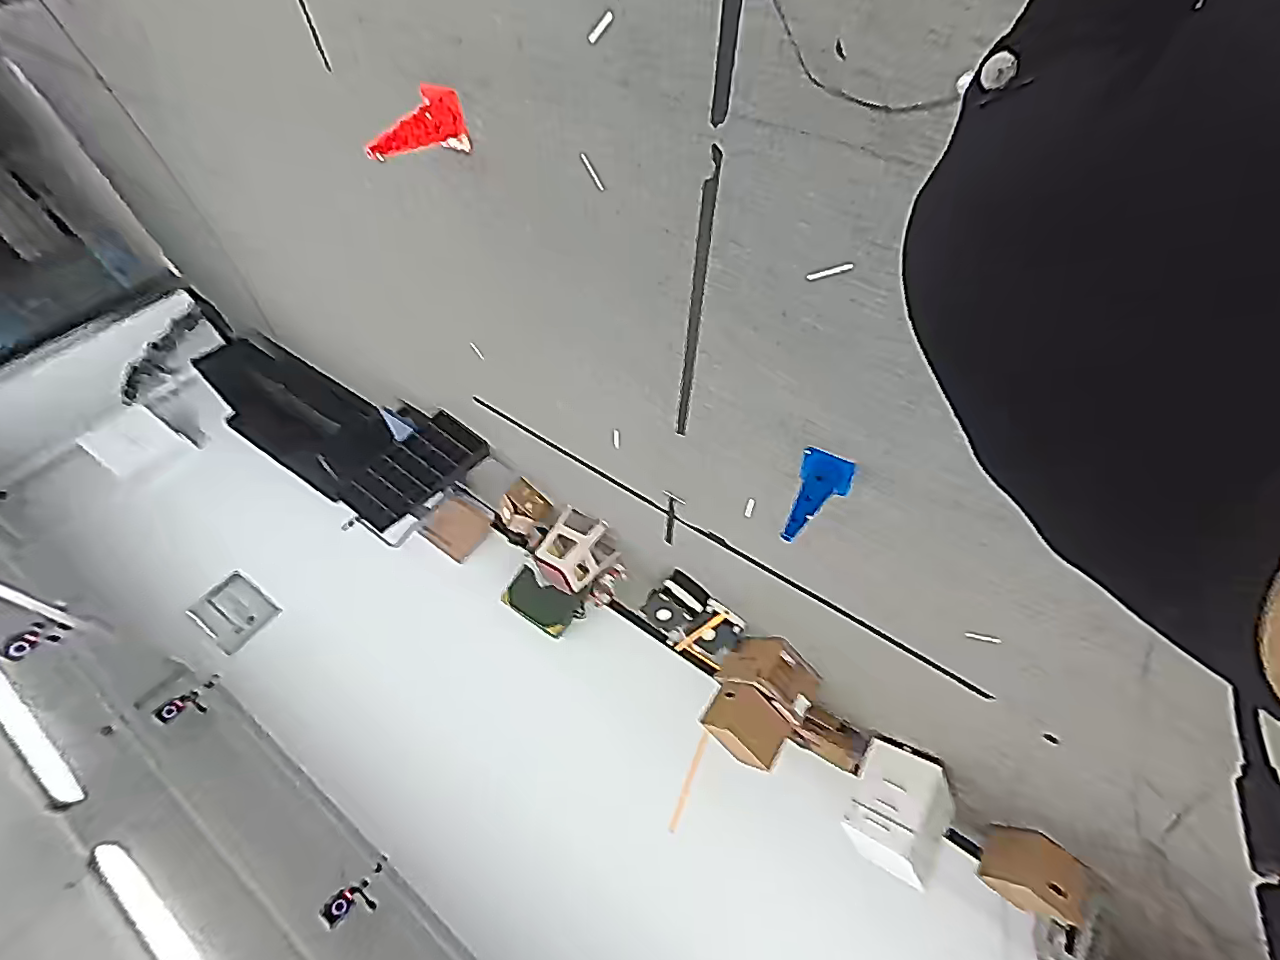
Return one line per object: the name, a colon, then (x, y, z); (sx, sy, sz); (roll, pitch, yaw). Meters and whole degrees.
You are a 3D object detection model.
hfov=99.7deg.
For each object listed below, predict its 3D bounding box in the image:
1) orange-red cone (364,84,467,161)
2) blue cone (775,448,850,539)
orange-red cone: (-0.835, -1.233, 1.940); (0.198, 0.360, 0.199); (28, 151, 24)
blue cone: (0.618, 0.077, 2.020); (0.192, 0.380, 0.193); (28, 150, 24)
